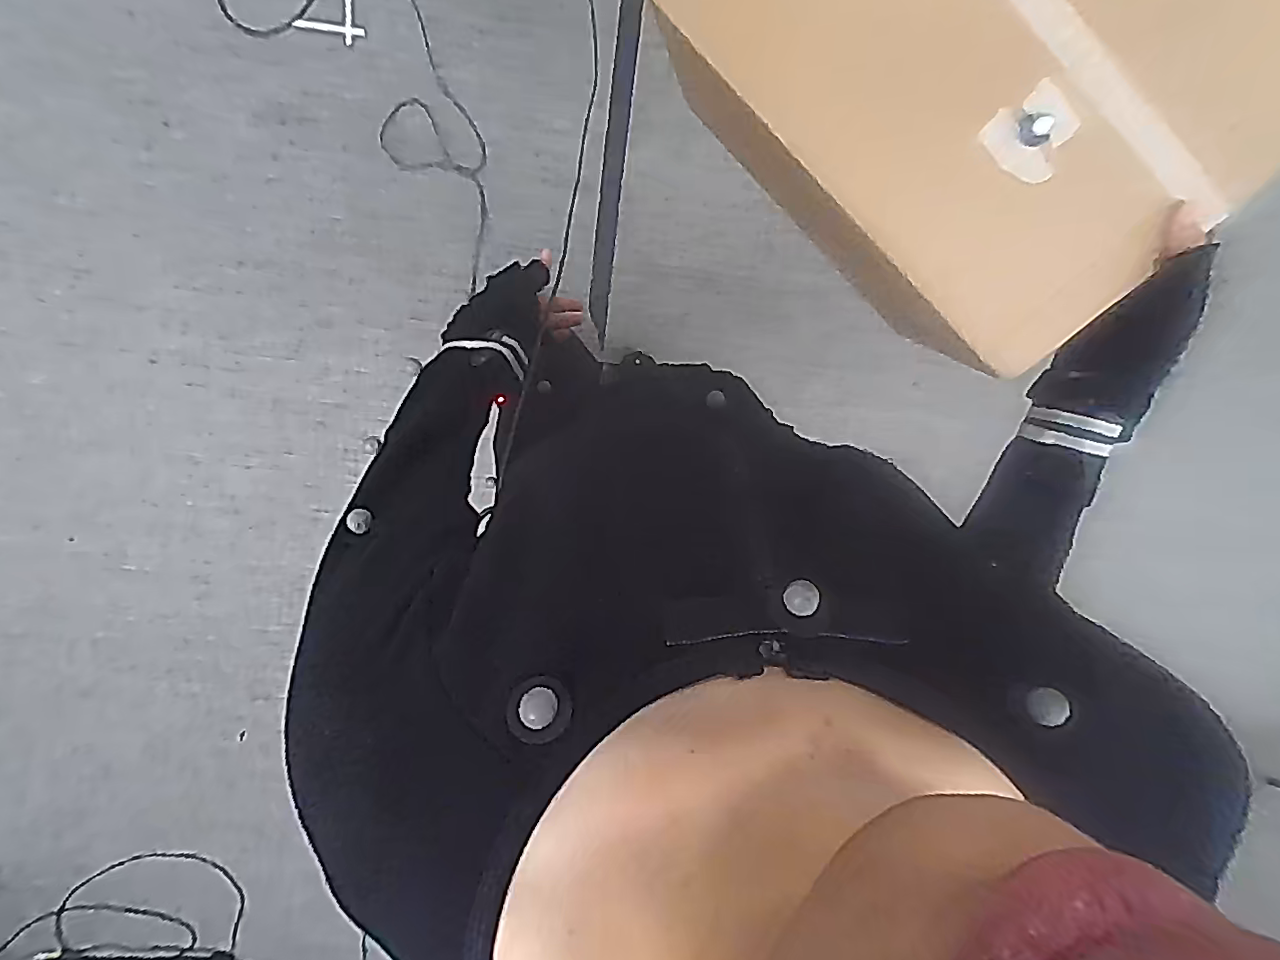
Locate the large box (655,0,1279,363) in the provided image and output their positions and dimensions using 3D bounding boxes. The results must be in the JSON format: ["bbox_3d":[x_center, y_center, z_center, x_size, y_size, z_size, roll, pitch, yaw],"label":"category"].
[{"bbox_3d":[0.275,-0.377,0.503,0.408,0.320,0.320,42,113,-7],"label":"large box"}]
